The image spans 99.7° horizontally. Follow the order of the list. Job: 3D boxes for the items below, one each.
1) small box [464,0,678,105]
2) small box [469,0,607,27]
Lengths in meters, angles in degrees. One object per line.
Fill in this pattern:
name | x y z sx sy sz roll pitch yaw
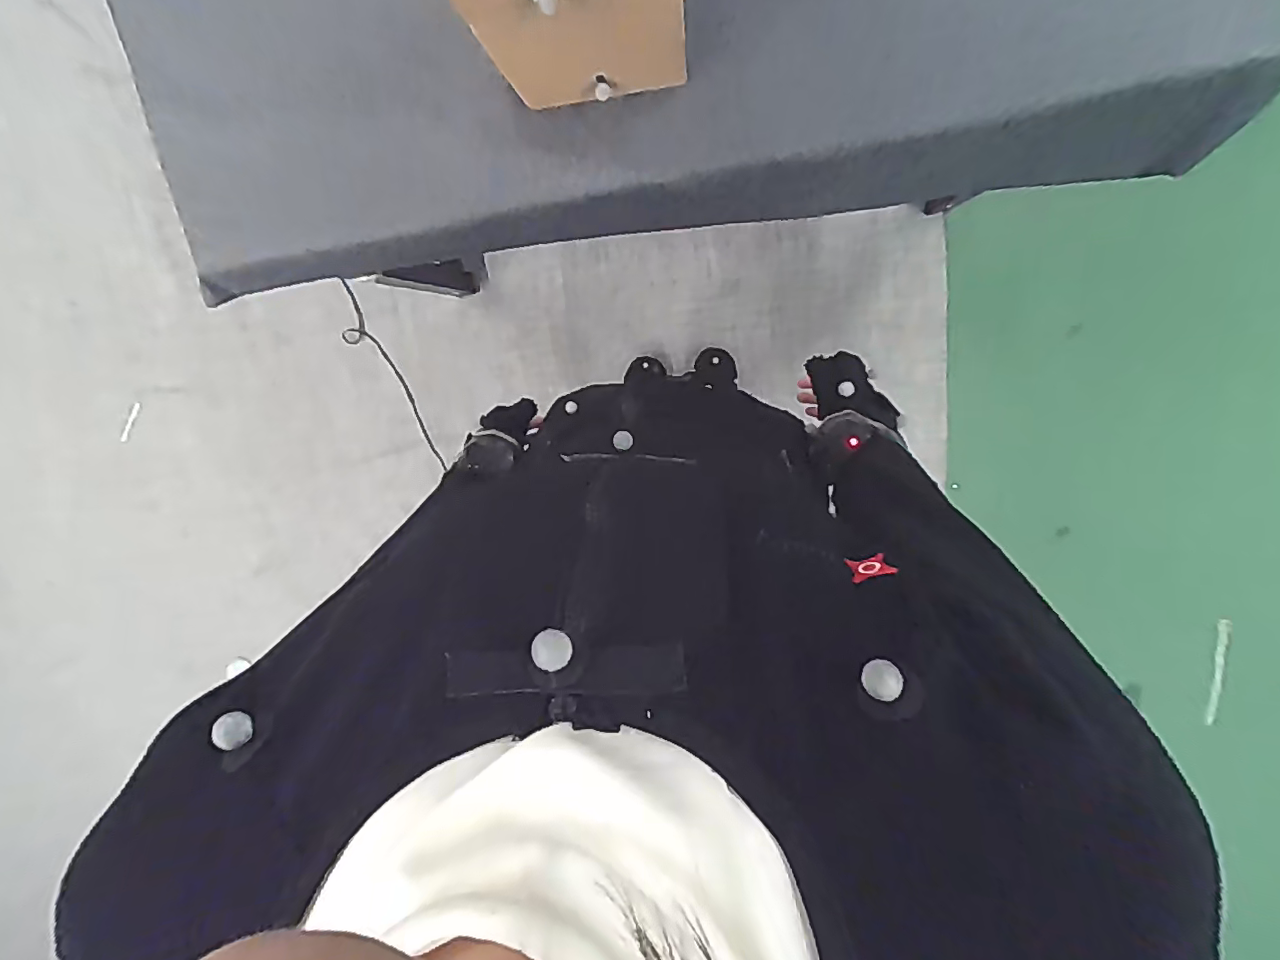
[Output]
small box | -0.058 -0.478 0.493 0.179 0.176 0.168 -5 103 7
small box | -0.077 -0.441 0.336 0.168 0.176 0.179 -6 105 9
